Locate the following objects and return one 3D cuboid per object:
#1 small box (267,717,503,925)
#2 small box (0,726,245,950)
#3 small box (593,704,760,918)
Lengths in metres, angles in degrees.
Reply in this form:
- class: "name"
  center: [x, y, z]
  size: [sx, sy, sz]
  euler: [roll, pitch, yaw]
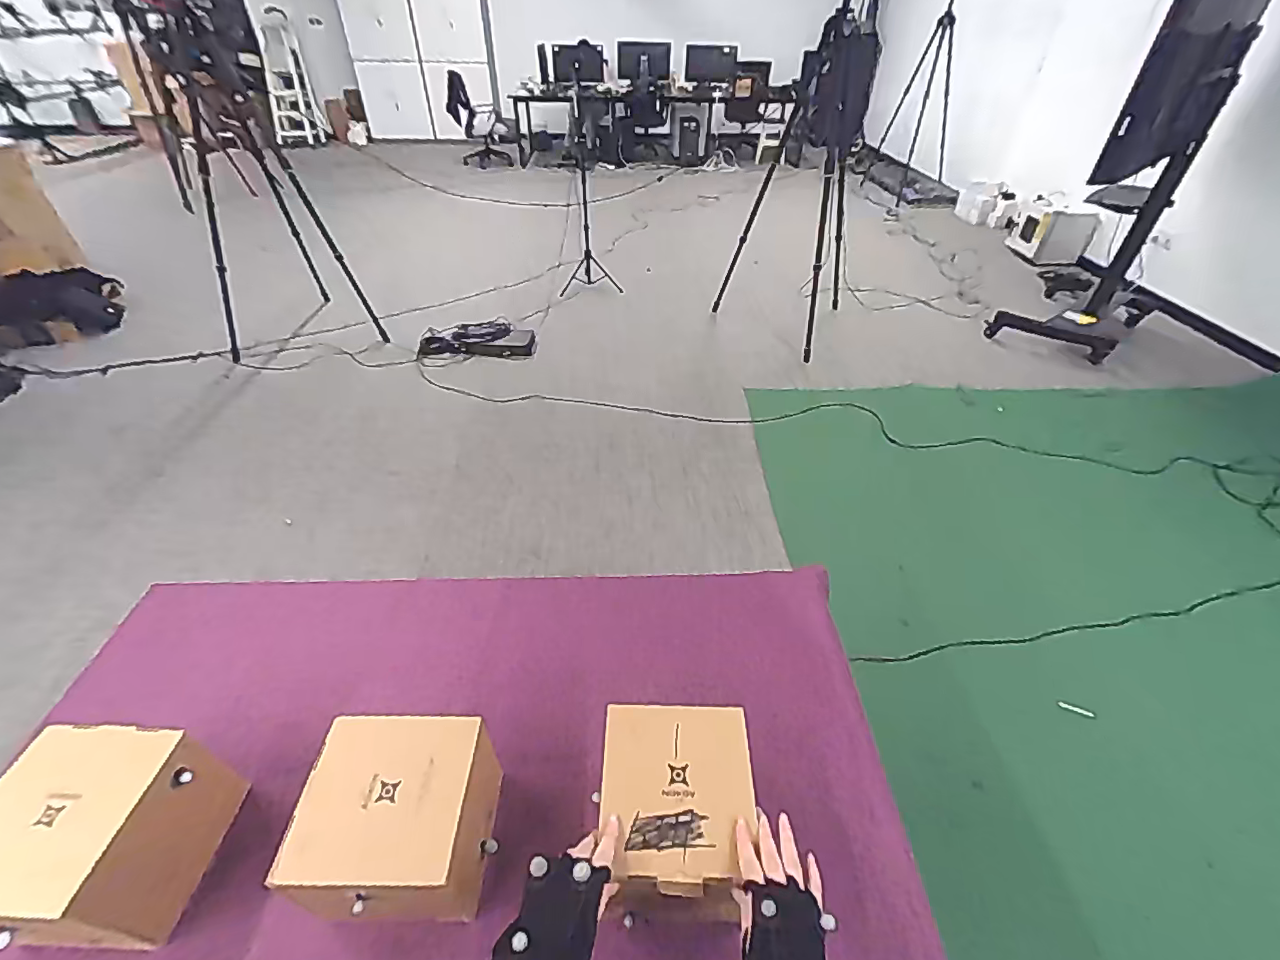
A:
- class: "small box"
  center: [-0.273, 0.397, 0.630]
  size: [0.179, 0.176, 0.168]
  euler: [1, 41, 0]
- class: "small box"
  center: [-0.607, 0.408, 0.618]
  size: [0.168, 0.176, 0.179]
  euler: [1, 40, 2]
- class: "small box"
  center: [0.040, 0.389, 0.636]
  size: [0.168, 0.176, 0.179]
  euler: [1, 40, 1]
